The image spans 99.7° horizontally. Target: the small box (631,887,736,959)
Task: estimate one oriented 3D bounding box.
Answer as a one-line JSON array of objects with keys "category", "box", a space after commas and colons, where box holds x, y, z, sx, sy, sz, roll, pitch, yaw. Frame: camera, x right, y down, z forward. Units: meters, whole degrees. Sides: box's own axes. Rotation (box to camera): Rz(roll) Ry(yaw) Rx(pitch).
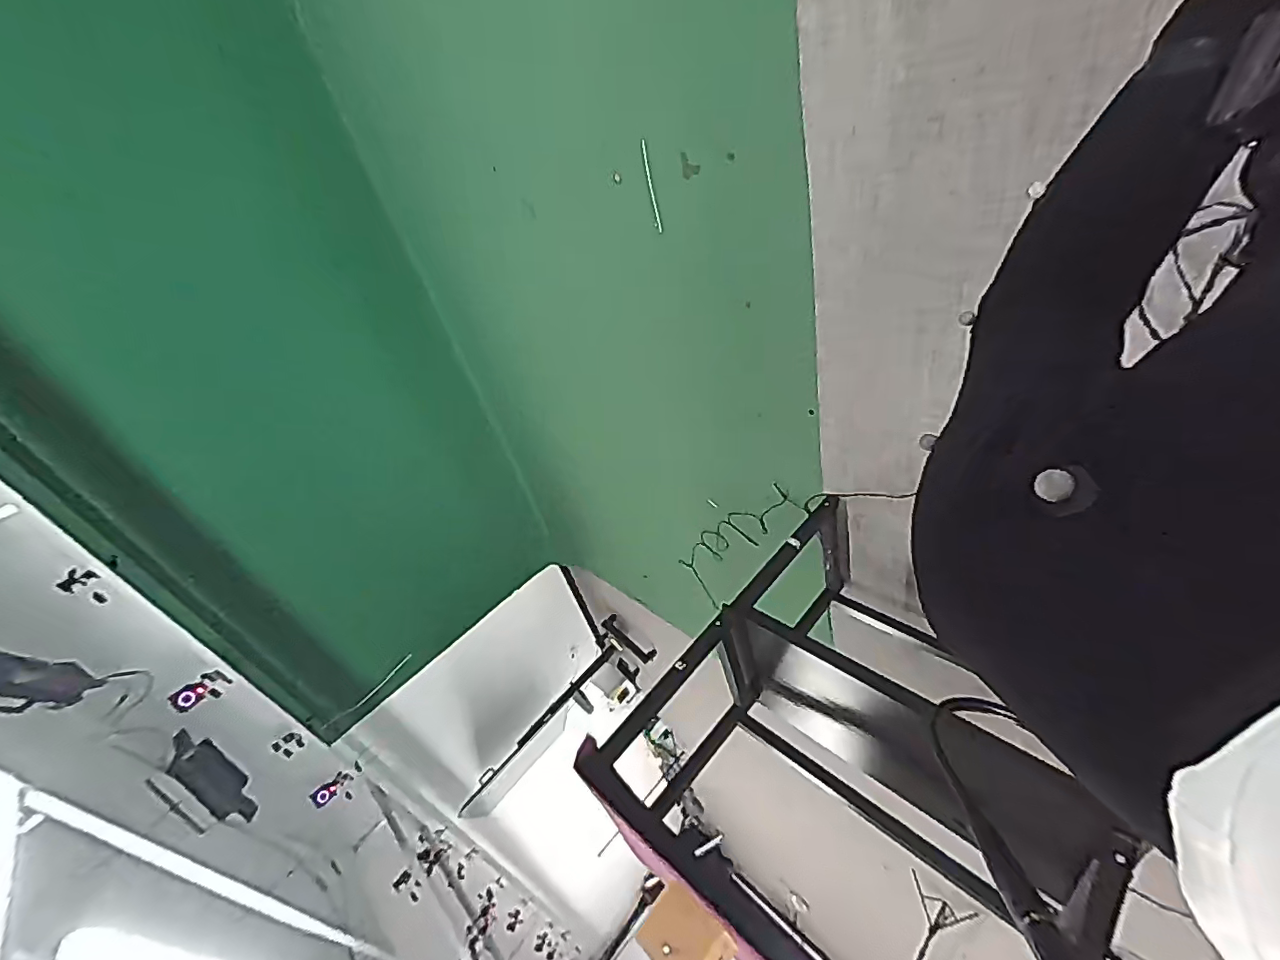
[{"category": "small box", "box": [0.112, 1.167, 1.352, 0.179, 0.176, 0.168, 18, 139, 44]}]
